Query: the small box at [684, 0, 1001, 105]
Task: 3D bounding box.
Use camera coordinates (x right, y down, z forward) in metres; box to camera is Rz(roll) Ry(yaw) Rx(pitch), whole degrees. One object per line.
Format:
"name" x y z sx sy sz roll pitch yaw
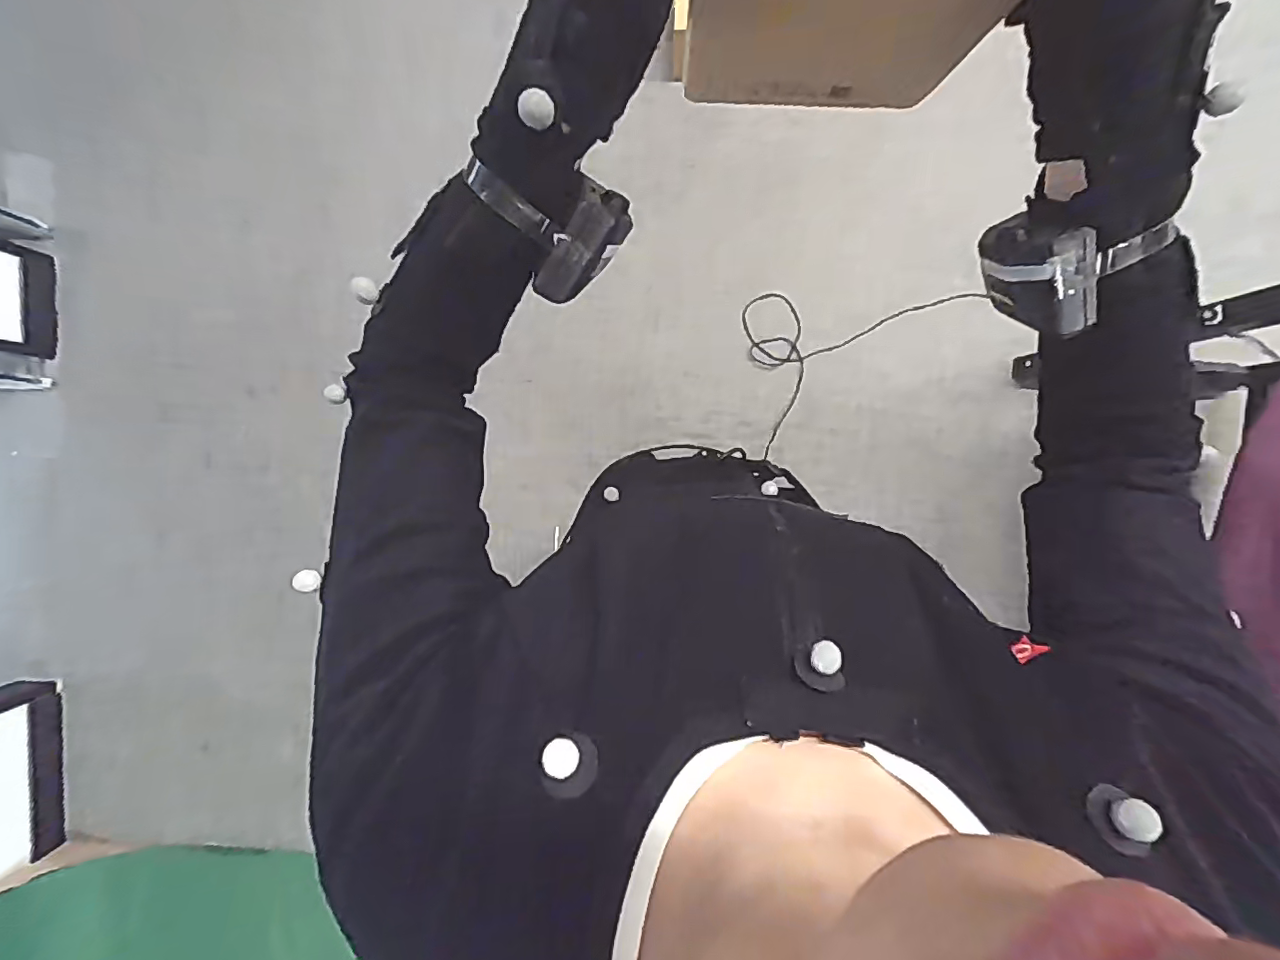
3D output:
"small box" 0.113 -0.339 0.284 0.168 0.176 0.179 3 100 1

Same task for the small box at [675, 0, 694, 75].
"small box" 0.178 -1.149 1.350 0.179 0.176 0.168 3 92 1
